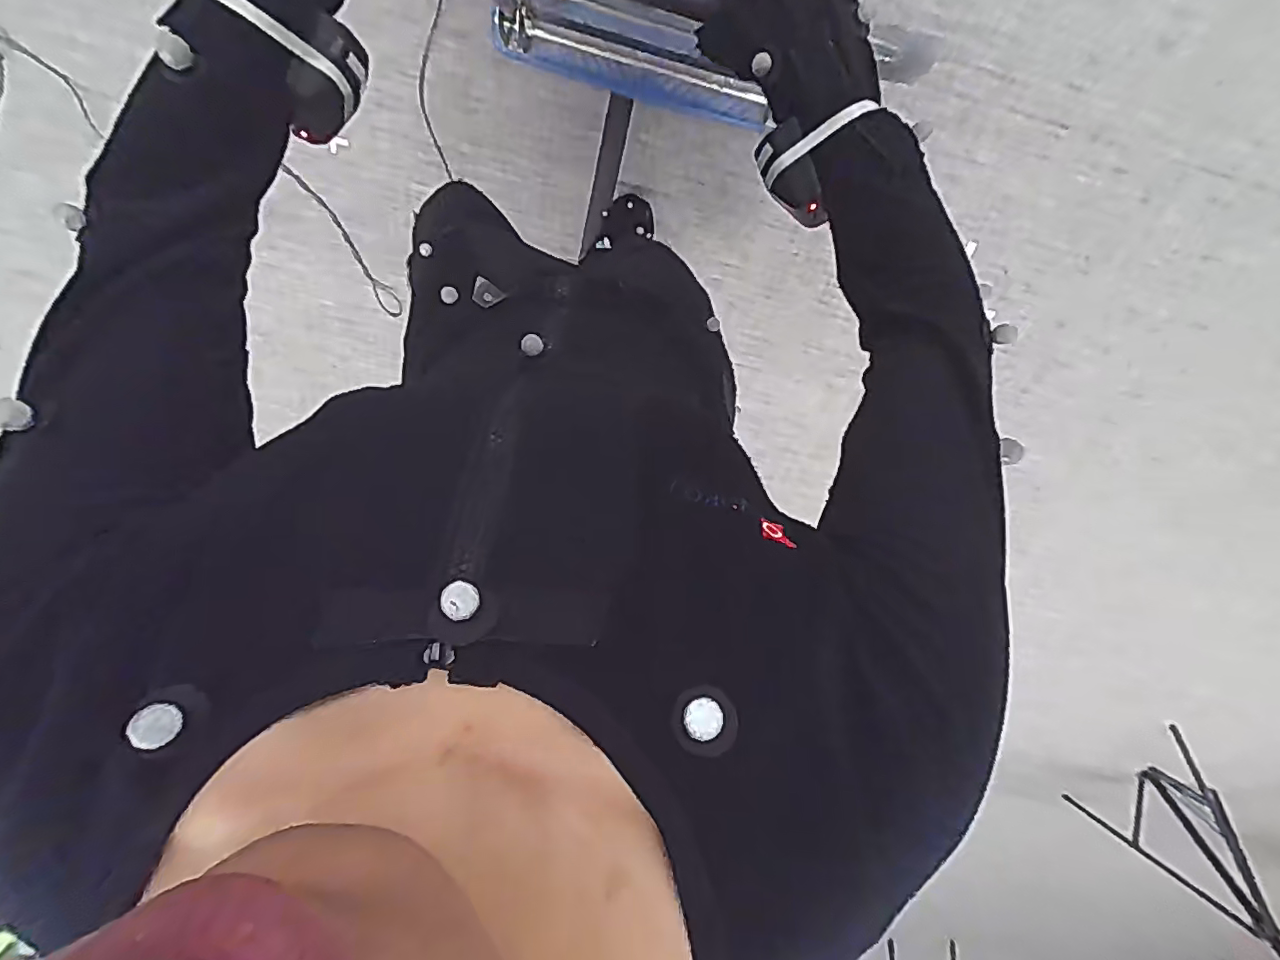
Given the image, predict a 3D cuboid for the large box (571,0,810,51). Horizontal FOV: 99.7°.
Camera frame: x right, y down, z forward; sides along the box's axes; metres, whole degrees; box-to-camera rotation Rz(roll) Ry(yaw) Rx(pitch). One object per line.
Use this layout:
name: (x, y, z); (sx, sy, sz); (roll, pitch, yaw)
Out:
large box: (0.047, -0.821, 0.714); (0.408, 0.320, 0.320); (12, 124, -6)
